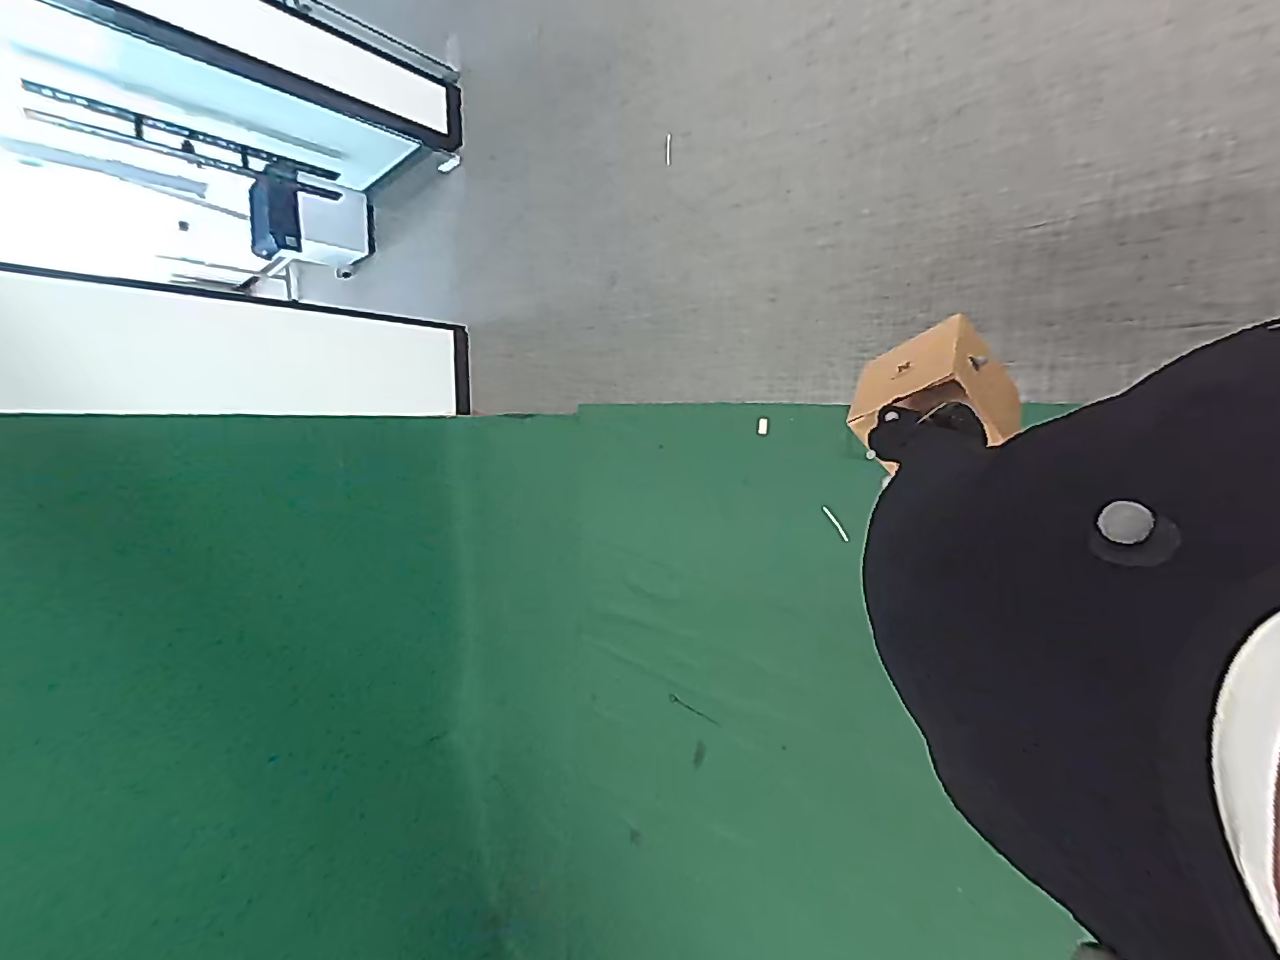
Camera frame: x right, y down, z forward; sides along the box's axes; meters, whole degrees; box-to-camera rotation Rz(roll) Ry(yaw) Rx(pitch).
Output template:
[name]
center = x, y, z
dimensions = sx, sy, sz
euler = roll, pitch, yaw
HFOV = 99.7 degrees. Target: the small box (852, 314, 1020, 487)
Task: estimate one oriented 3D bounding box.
[small box]
center = 0.468, -0.118, 0.851
dimensions = 0.176, 0.179, 0.168
euler = 45, 141, -15
